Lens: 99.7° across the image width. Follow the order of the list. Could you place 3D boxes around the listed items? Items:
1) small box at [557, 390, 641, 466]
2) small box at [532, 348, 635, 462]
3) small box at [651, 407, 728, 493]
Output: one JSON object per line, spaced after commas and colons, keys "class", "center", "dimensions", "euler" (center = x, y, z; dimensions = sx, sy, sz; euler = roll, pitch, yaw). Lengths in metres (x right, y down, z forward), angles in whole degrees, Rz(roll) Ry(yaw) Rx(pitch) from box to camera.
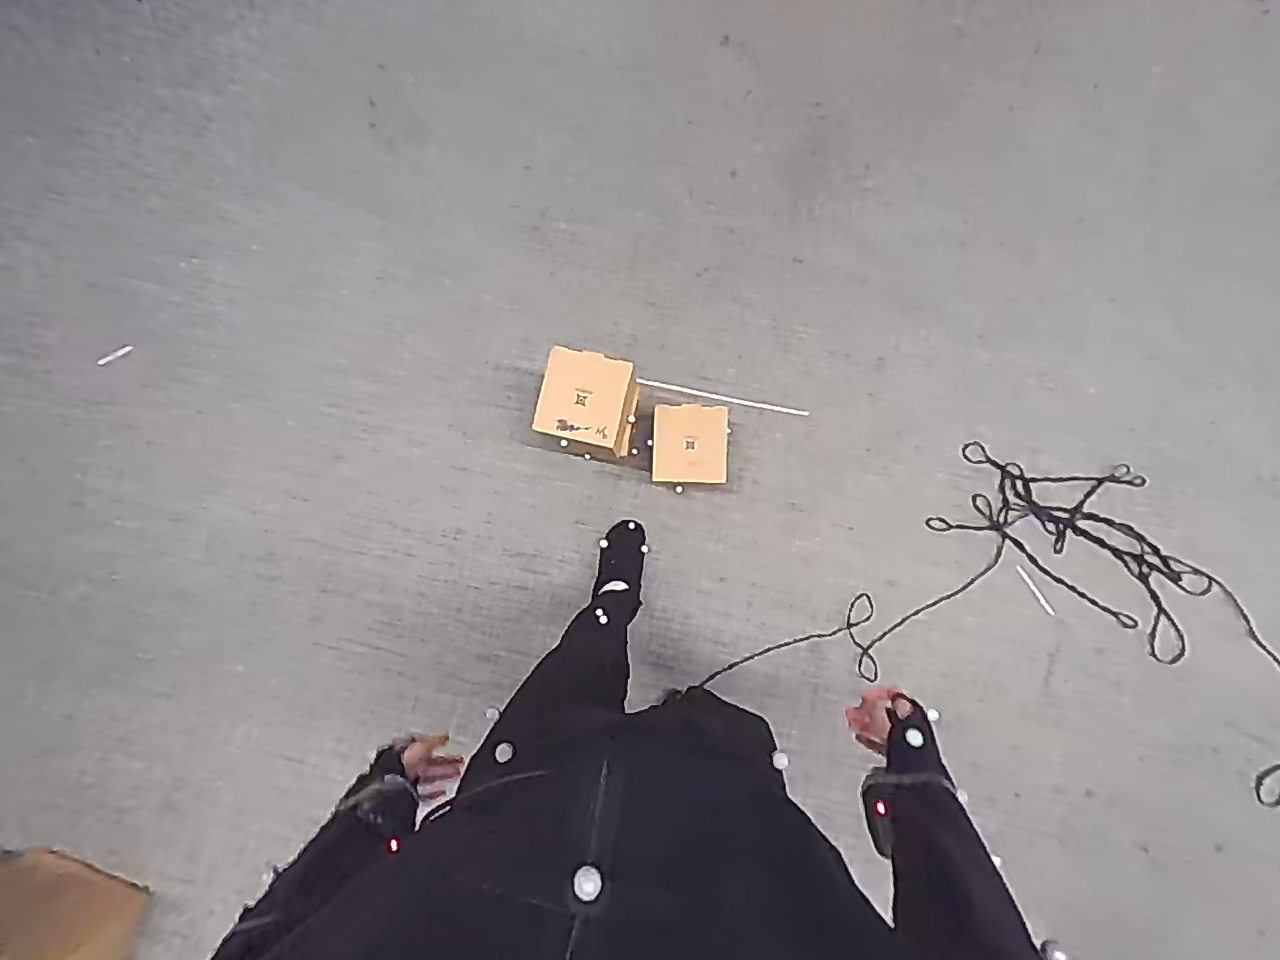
{"class": "small box", "center": [-0.098, -0.132, 1.287], "dimensions": [0.179, 0.176, 0.168], "euler": [12, 85, 3]}
{"class": "small box", "center": [-0.108, -0.147, 1.124], "dimensions": [0.168, 0.176, 0.179], "euler": [13, 84, 3]}
{"class": "small box", "center": [0.113, -0.066, 1.276], "dimensions": [0.168, 0.176, 0.179], "euler": [3, 85, 3]}
